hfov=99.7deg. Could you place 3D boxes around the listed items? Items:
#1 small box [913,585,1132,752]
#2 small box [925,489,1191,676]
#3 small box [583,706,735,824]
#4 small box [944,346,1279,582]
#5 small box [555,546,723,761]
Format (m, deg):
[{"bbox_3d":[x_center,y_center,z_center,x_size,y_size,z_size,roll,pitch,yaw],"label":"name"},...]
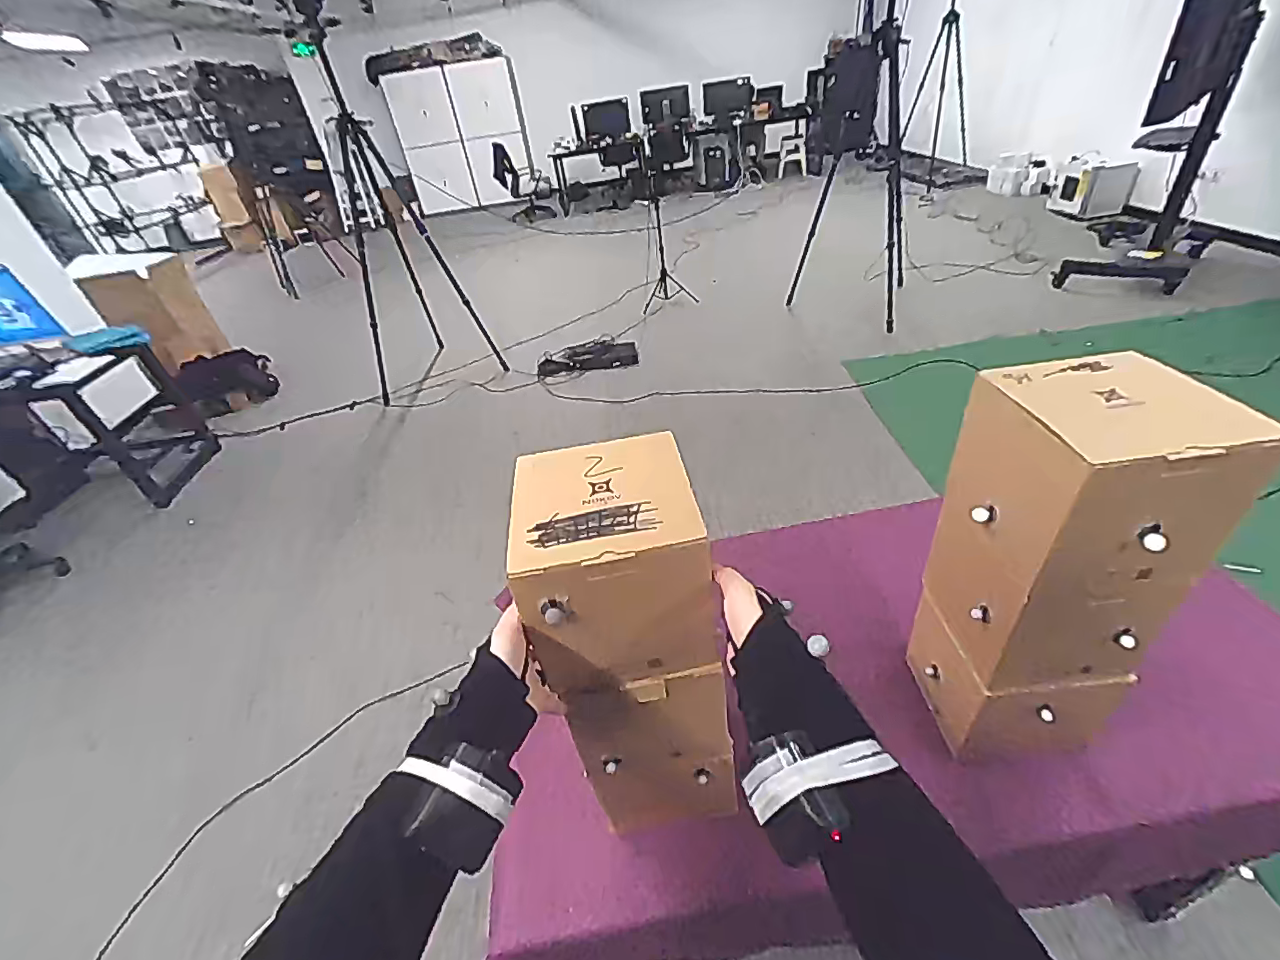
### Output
[{"bbox_3d":[0.494,0.250,0.737,0.179,0.176,0.168,-7,38,4],"label":"small box"},{"bbox_3d":[0.469,0.116,0.646,0.168,0.176,0.179,-7,37,4],"label":"small box"},{"bbox_3d":[0.025,0.340,0.737,0.179,0.176,0.168,-9,37,0],"label":"small box"},{"bbox_3d":[0.442,-0.012,0.548,0.168,0.176,0.179,-7,38,3],"label":"small box"},{"bbox_3d":[0.000,0.209,0.642,0.168,0.176,0.179,-10,36,0],"label":"small box"}]
